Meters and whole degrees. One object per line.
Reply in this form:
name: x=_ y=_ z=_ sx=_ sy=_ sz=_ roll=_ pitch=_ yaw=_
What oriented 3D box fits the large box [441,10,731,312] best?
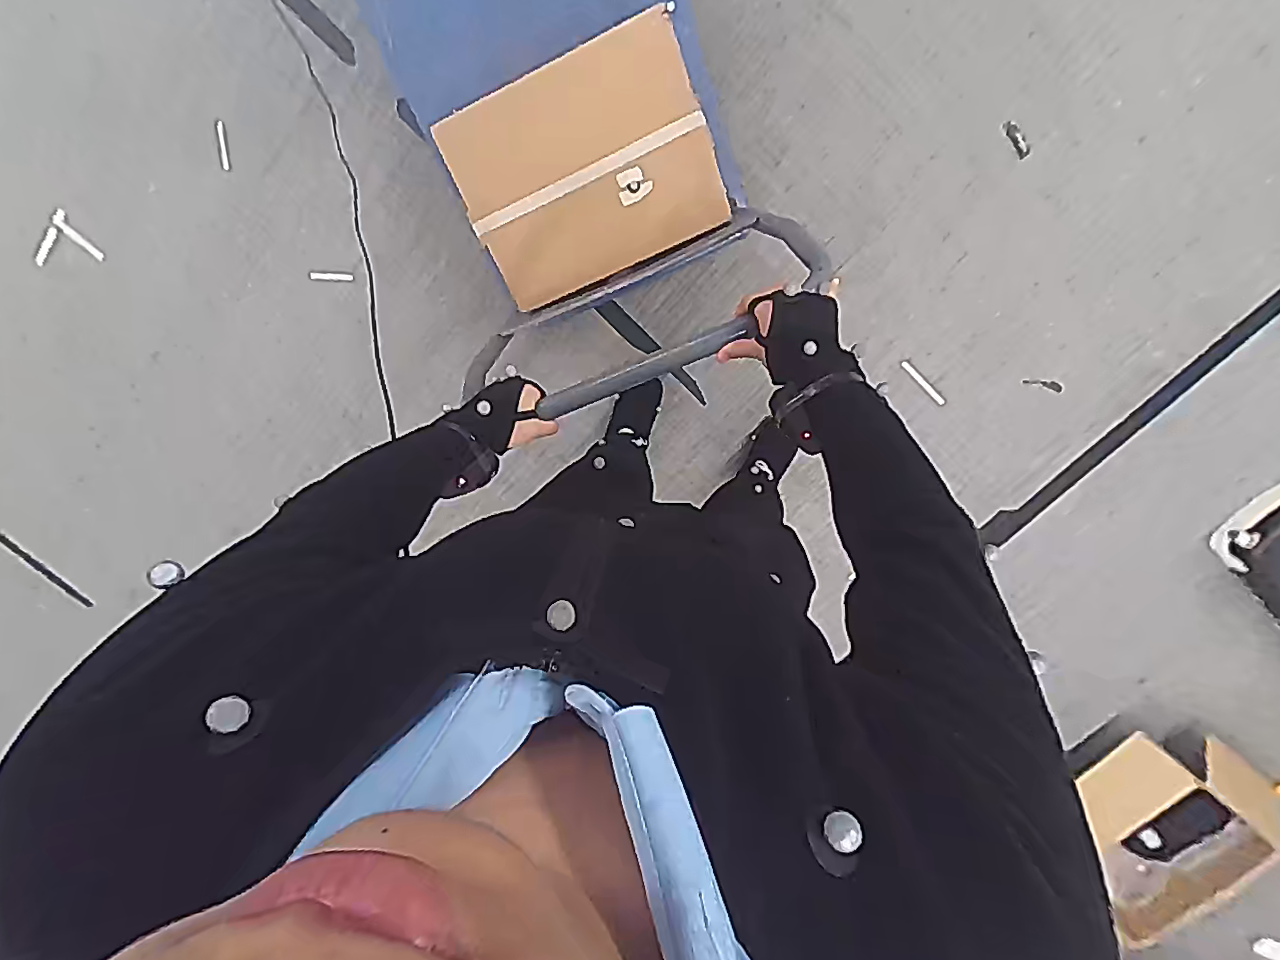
large box: x=-0.086 y=-0.565 z=1.031 sx=0.408 sy=0.320 sz=0.320 roll=-22 pitch=114 yaw=9
